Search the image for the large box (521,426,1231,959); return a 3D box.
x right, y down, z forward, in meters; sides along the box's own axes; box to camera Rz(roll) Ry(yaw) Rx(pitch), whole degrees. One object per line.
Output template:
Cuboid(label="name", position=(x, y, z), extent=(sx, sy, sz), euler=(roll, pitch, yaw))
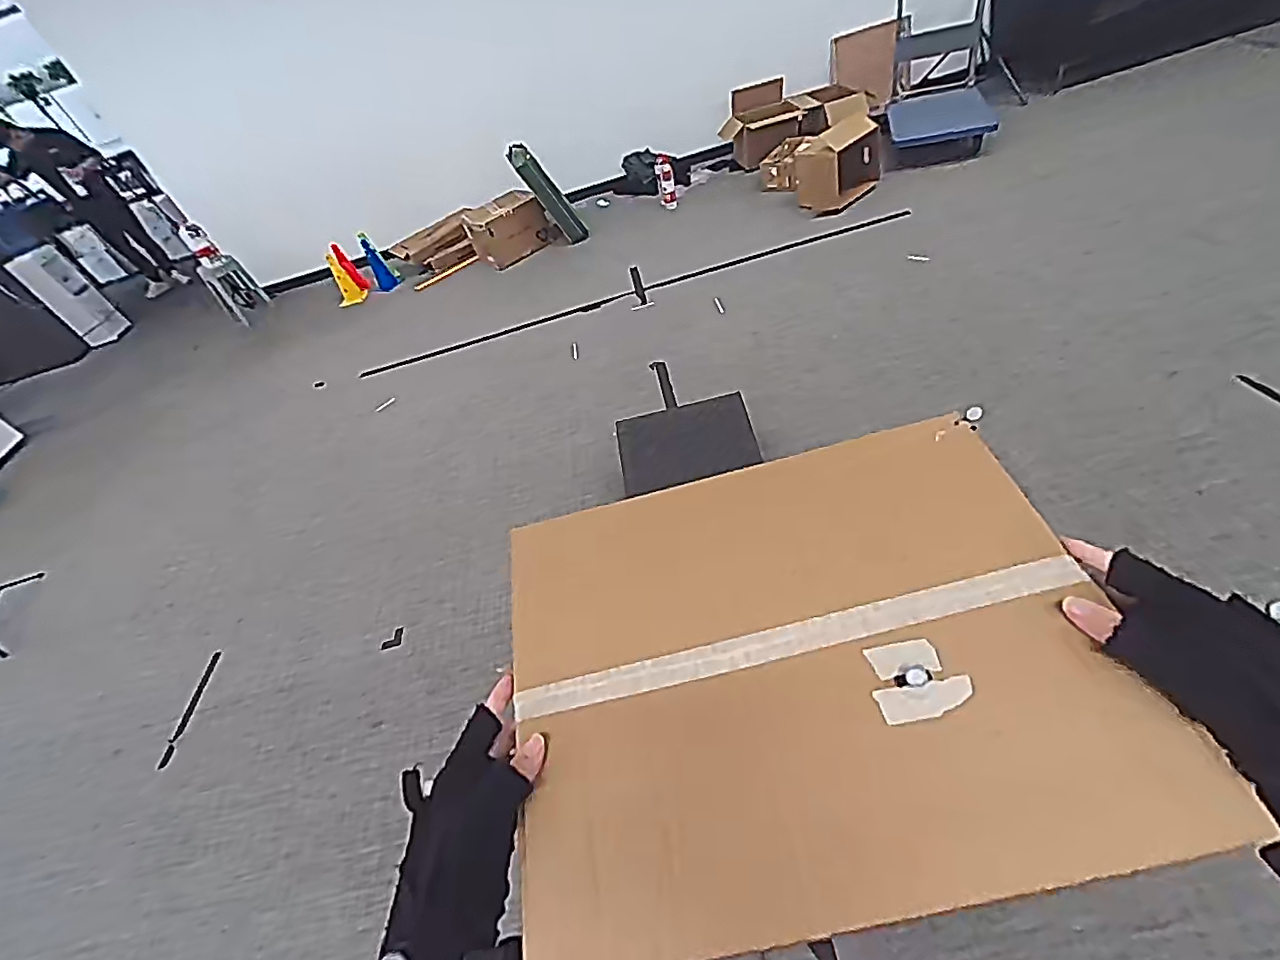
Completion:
Cuboid(label="large box", position=(0.136, 0.207, 0.510), extent=(0.408, 0.320, 0.320), euler=(-15, 52, 3))
